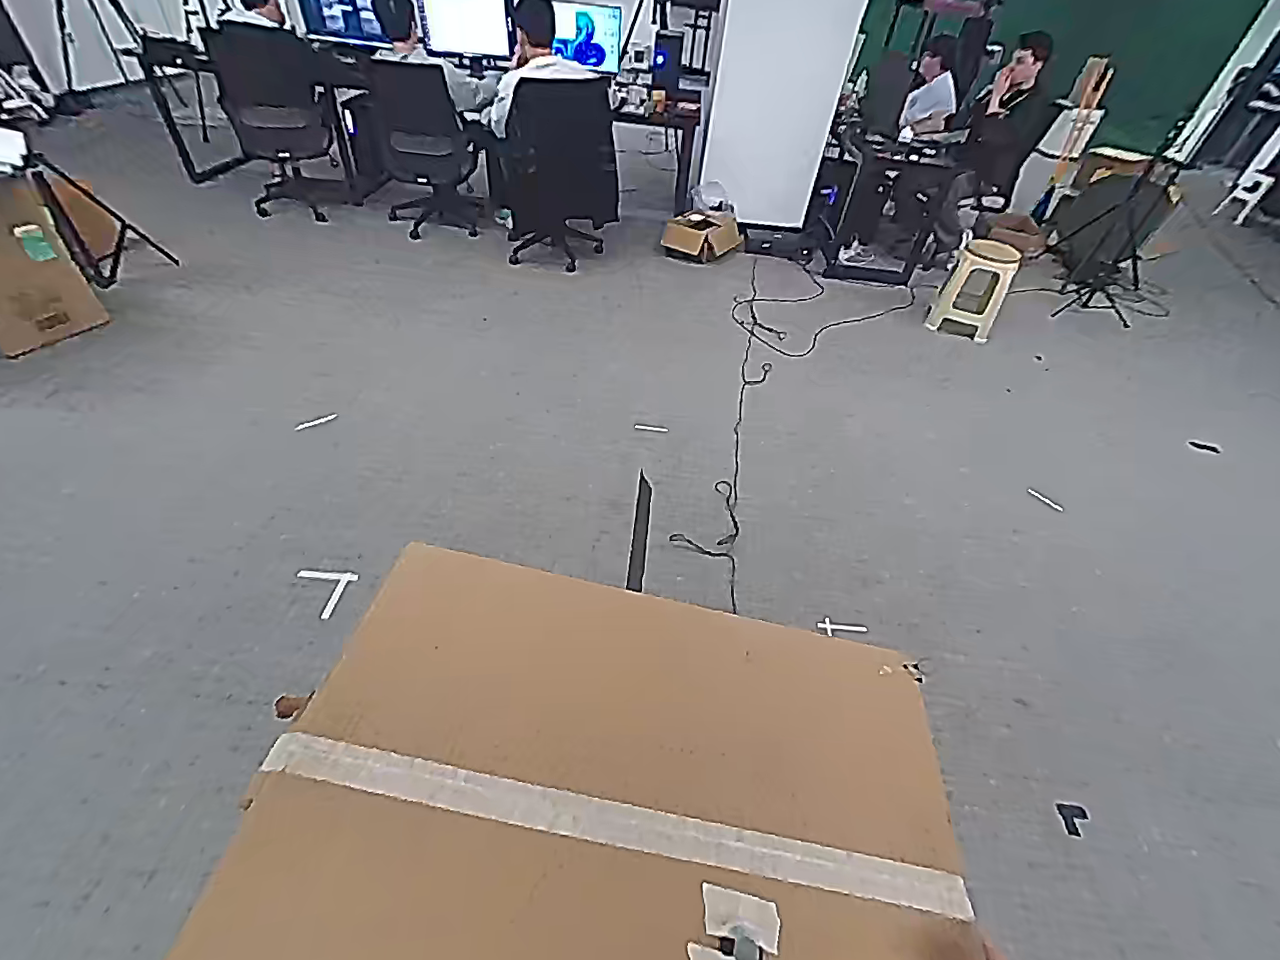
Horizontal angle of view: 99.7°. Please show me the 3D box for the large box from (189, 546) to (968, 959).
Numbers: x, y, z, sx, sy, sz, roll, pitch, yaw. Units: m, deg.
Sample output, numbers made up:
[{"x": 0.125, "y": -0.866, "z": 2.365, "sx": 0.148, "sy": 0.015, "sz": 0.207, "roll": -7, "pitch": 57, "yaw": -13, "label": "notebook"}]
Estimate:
[{"x": -0.032, "y": 0.301, "z": 0.431, "sx": 0.408, "sy": 0.320, "sz": 0.320, "roll": 14, "pitch": 46, "yaw": -1, "label": "large box"}]
